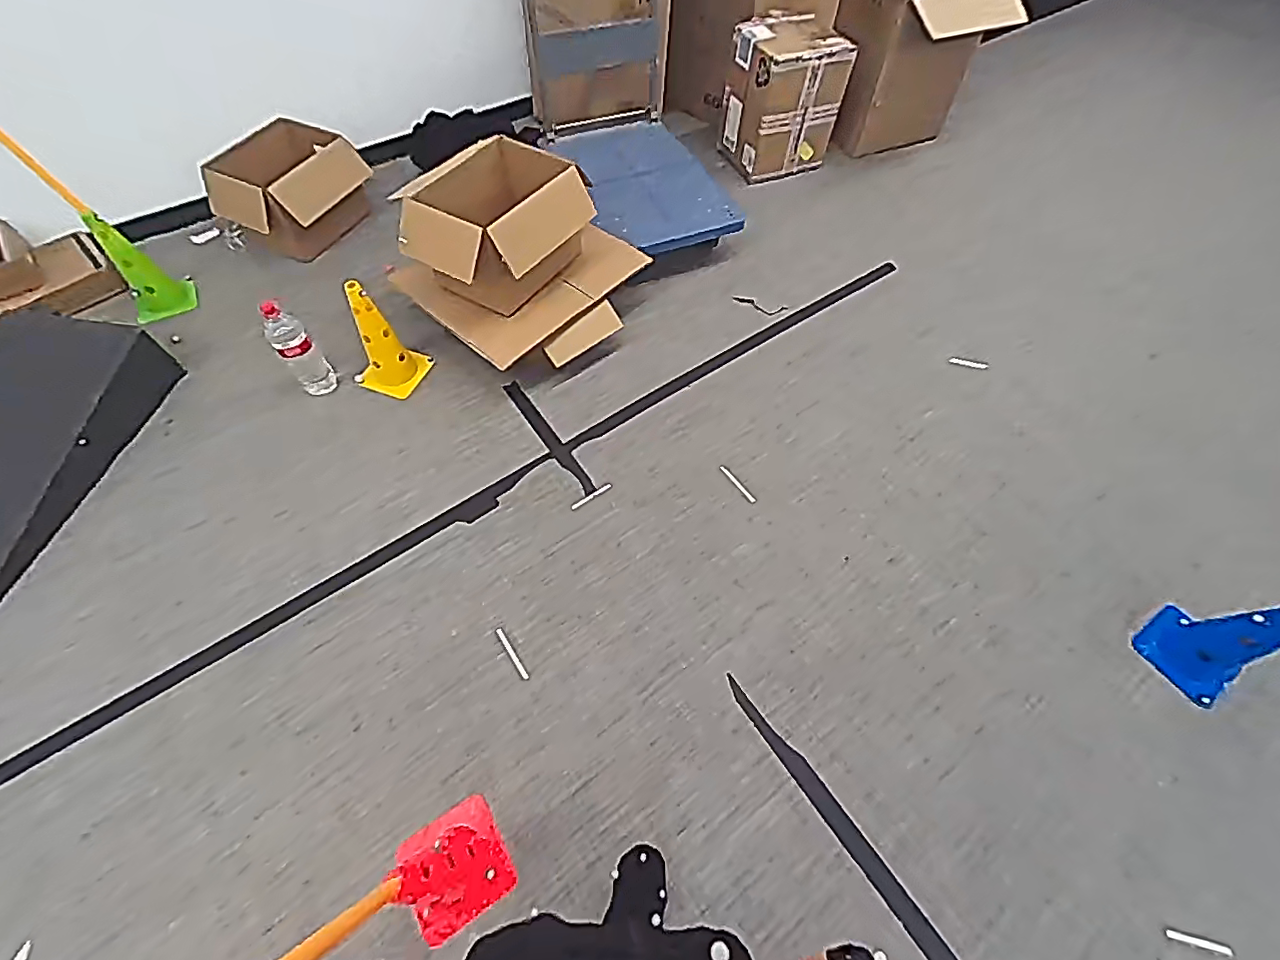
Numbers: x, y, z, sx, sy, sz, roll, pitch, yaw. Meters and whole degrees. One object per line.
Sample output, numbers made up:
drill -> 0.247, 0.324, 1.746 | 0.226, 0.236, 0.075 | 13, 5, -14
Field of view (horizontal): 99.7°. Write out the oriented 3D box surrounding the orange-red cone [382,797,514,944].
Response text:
orange-red cone -> -0.380, 0.708, 0.973 | 0.198, 0.360, 0.199 | -28, 62, -17

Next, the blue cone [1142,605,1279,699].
blue cone -> 1.411, 0.348, 1.244 | 0.193, 0.380, 0.192 | -28, 63, -17
